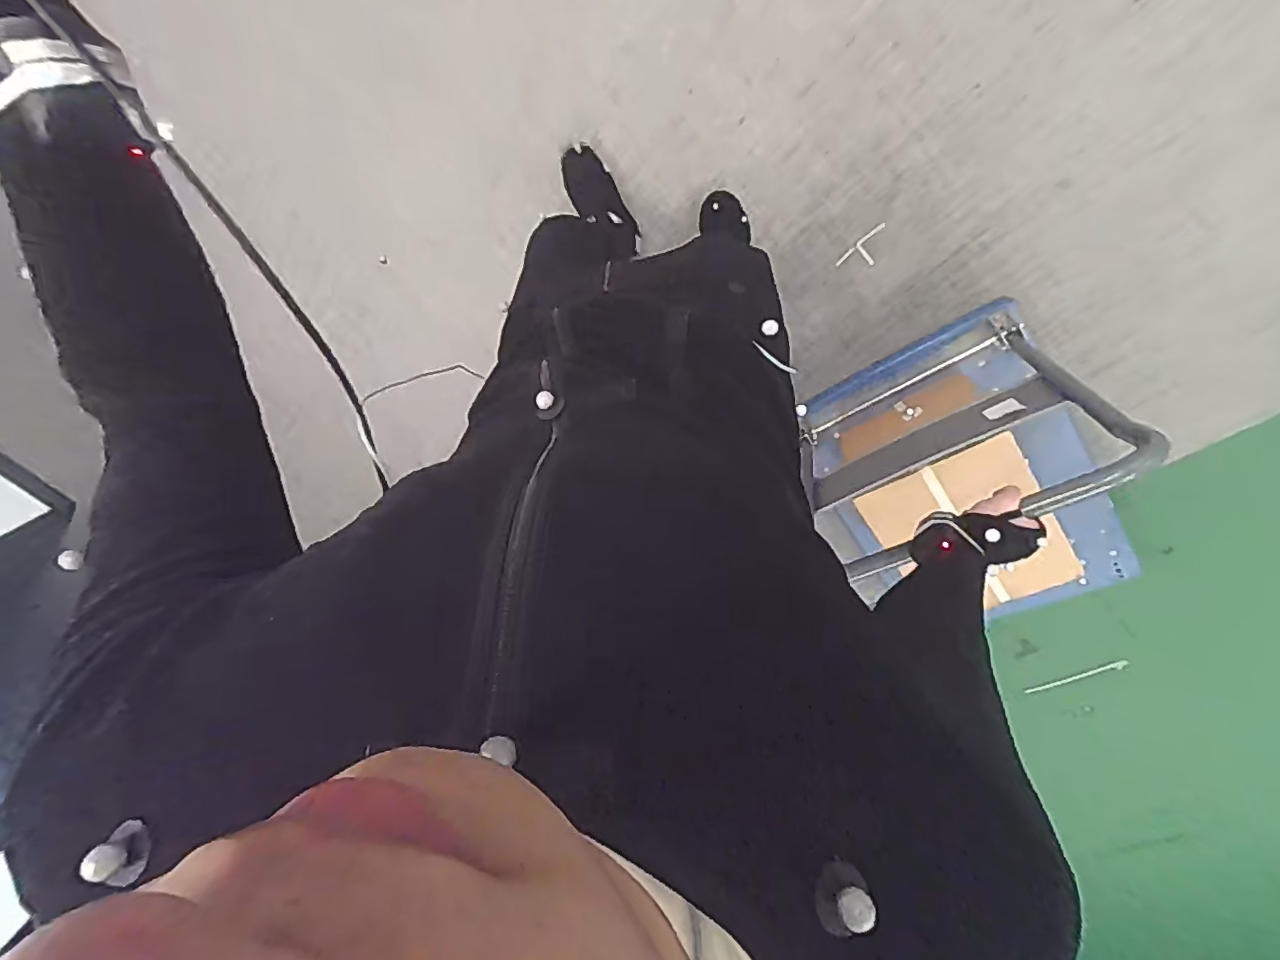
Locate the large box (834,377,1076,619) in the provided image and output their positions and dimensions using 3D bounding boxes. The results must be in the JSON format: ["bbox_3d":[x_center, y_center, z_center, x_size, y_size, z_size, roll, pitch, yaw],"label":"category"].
[{"bbox_3d":[0.704,0.040,1.263,0.320,0.320,0.408,-29,111,28],"label":"large box"}]
